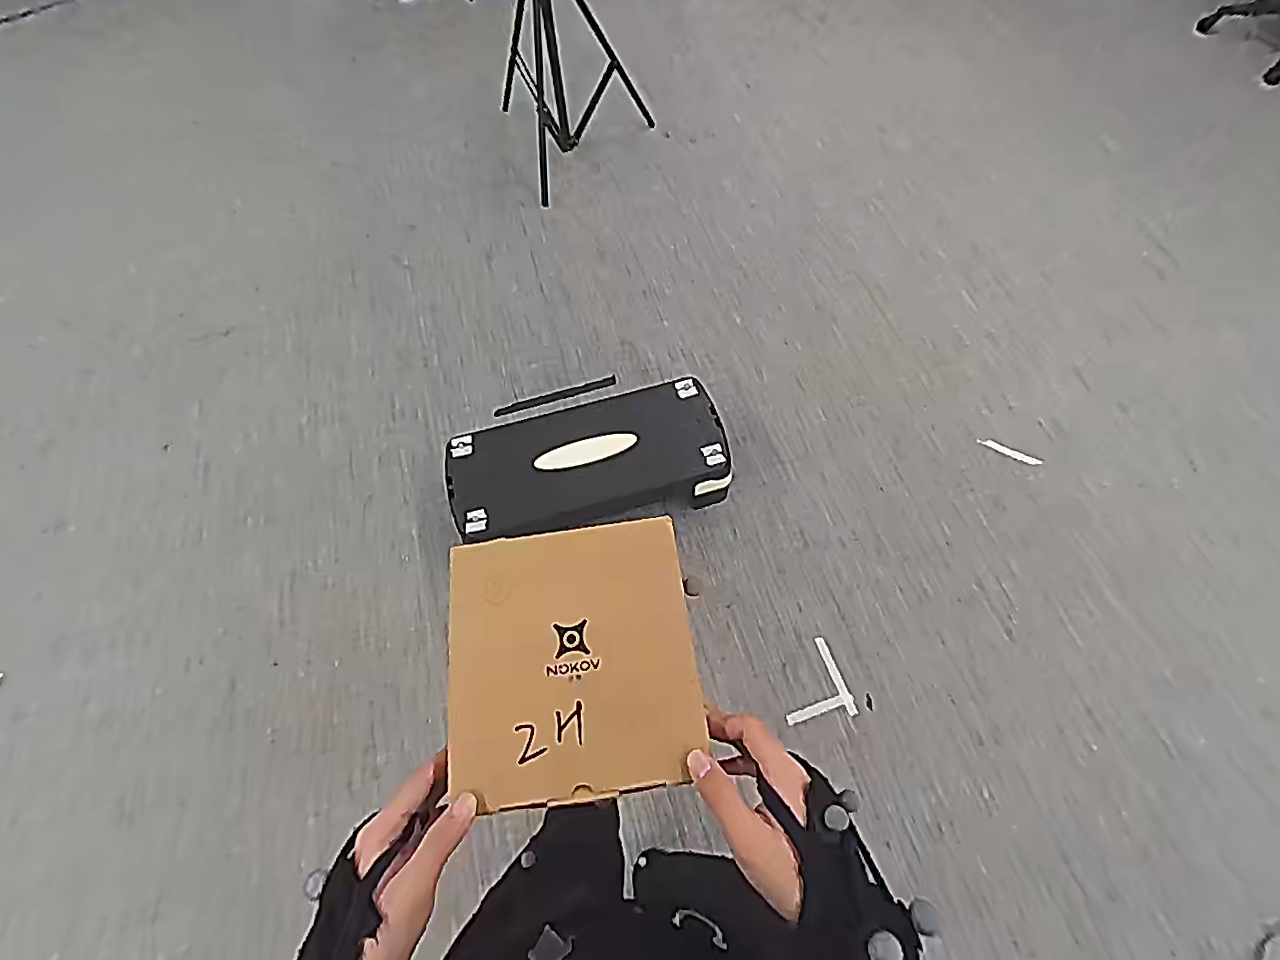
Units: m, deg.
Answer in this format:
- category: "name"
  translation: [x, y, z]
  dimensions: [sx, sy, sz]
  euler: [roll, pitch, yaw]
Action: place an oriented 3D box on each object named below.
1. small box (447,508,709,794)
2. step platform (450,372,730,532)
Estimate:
- category: "small box"
  translation: [-0.044, 0.142, 0.440]
  dimensions: [0.168, 0.176, 0.179]
  euler: [-8, 64, 0]
- category: "step platform"
  translation: [-0.122, -0.046, 1.372]
  dimensions: [0.684, 0.204, 0.286]
  euler: [-16, 64, -5]
